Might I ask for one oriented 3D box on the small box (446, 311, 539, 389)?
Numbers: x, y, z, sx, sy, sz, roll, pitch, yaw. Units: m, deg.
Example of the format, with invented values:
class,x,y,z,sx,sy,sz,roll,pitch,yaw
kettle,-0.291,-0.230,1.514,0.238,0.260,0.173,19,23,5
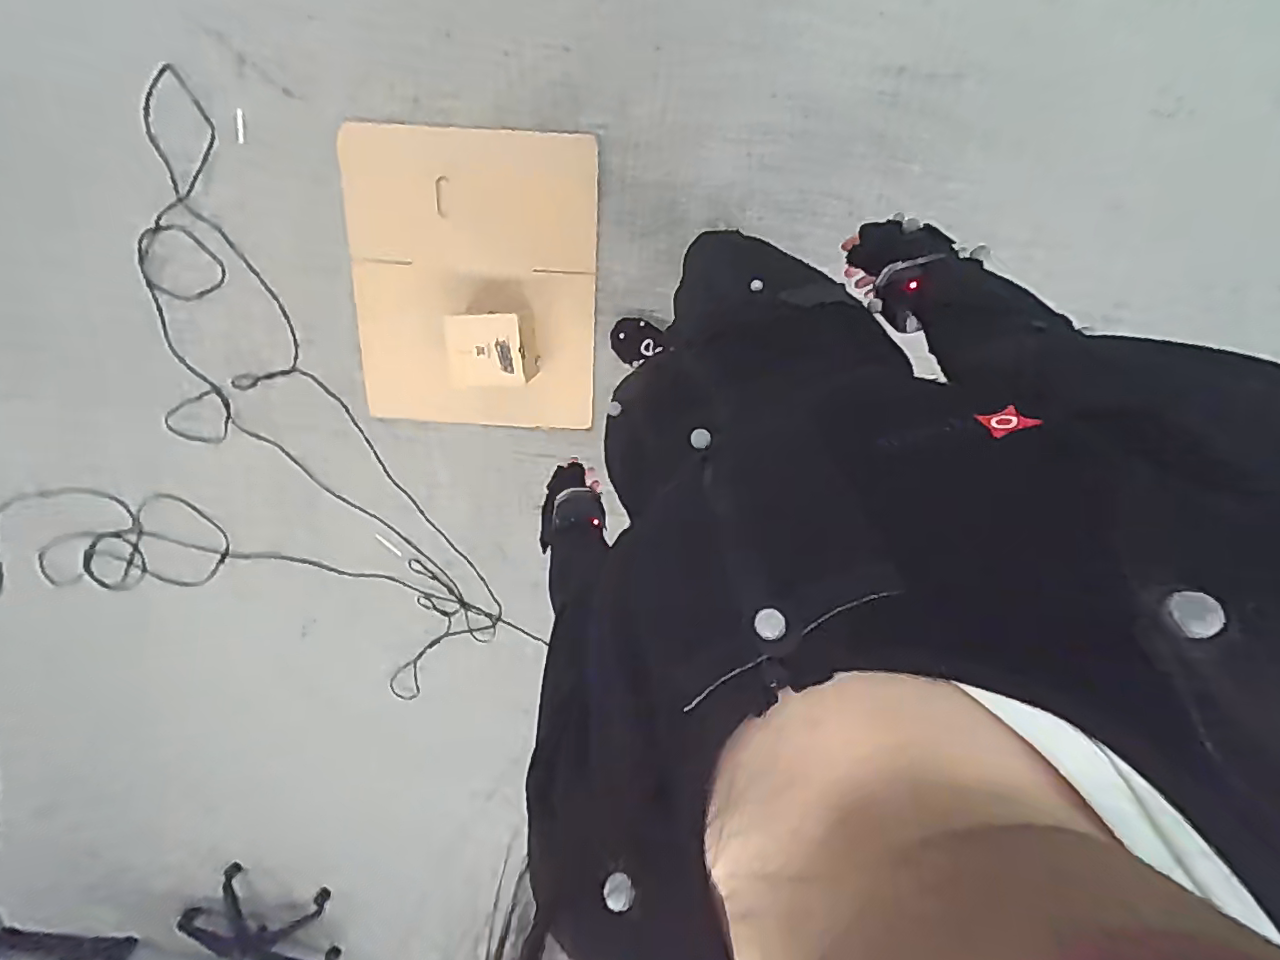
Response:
class,x,y,z,sx,sy,sz,roll,pitch,yaw
small box,-0.348,-0.320,1.317,0.179,0.176,0.168,-1,111,3
